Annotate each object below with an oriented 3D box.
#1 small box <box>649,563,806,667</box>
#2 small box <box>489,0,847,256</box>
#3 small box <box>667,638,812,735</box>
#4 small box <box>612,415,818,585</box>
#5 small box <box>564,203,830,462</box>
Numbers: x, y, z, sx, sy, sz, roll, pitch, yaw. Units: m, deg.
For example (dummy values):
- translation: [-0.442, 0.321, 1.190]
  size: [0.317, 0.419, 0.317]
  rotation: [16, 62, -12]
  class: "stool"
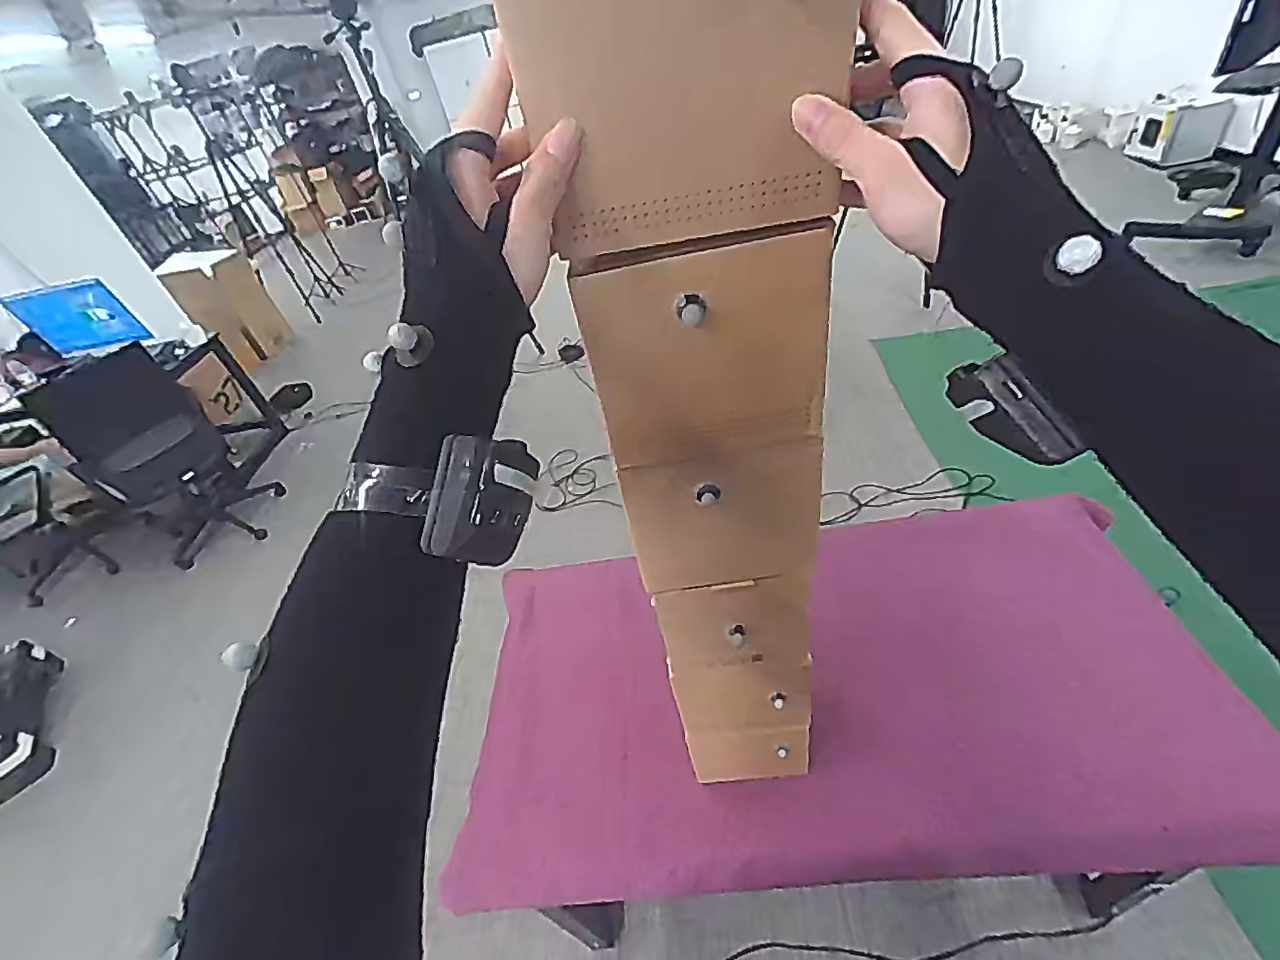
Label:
- translation: [0.103, 0.113, 0.665]
  size: [0.168, 0.176, 0.179]
  rotation: [-9, 40, 5]
  class: "small box"
- translation: [0.019, -0.263, 0.335]
  size: [0.179, 0.176, 0.168]
  rotation: [-8, 46, 6]
  class: "small box"
- translation: [0.134, 0.239, 0.763]
  size: [0.179, 0.176, 0.168]
  rotation: [-9, 39, 7]
  class: "small box"
- translation: [0.074, -0.009, 0.558]
  size: [0.179, 0.176, 0.168]
  rotation: [-9, 39, 5]
  class: "small box"
- translation: [0.048, -0.135, 0.458]
  size: [0.179, 0.176, 0.168]
  rotation: [-10, 39, 6]
  class: "small box"
